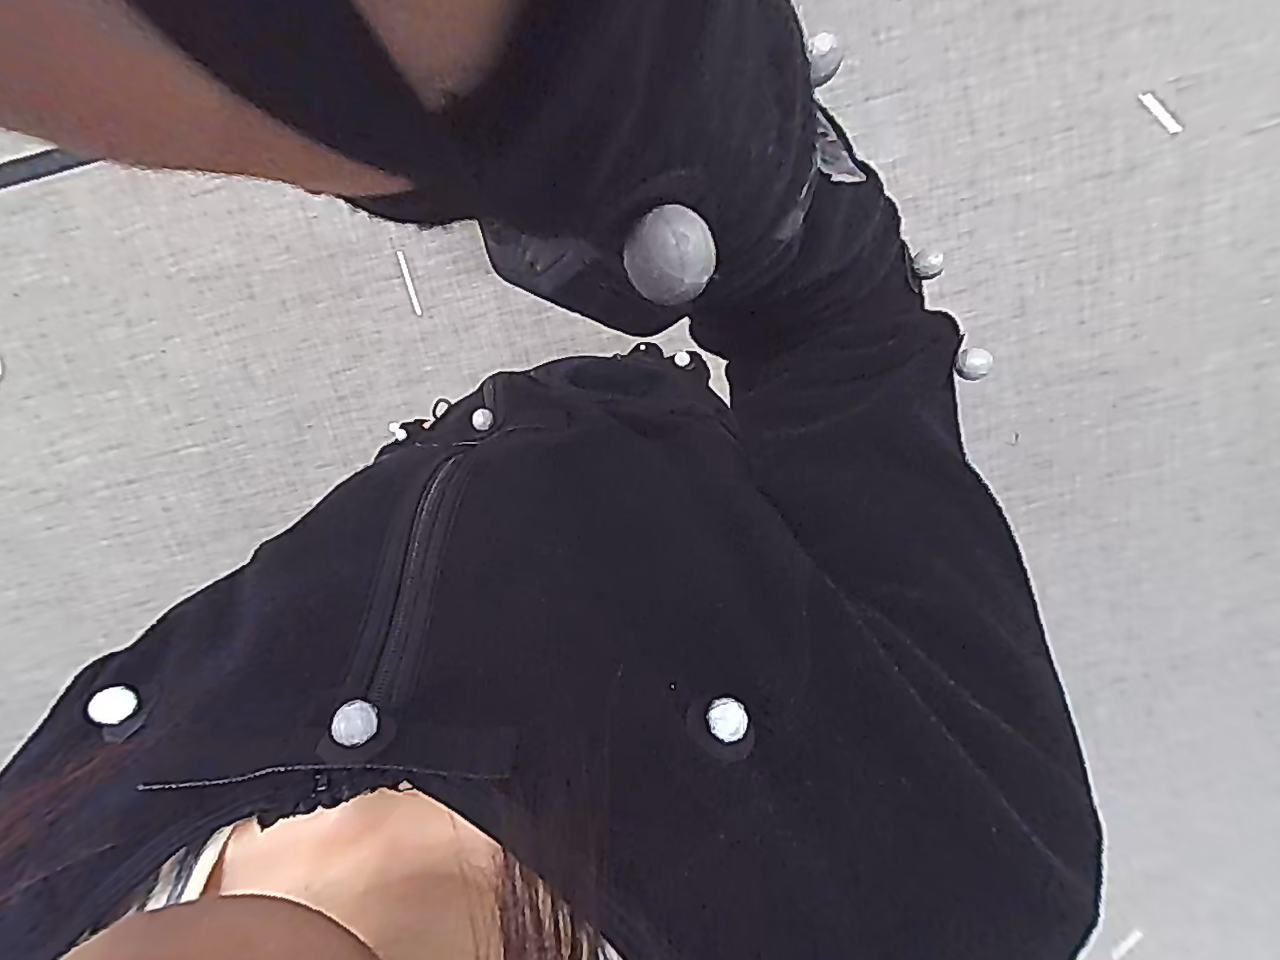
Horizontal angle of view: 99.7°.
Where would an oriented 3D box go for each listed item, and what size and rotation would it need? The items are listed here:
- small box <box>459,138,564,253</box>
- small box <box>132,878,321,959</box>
[{"bbox_3d":[-0.272,-0.612,1.191,0.168,0.176,0.179,-15,104,1],"label":"small box"},{"bbox_3d":[-0.601,0.713,0.763,0.179,0.176,0.168,-13,106,2],"label":"small box"}]
